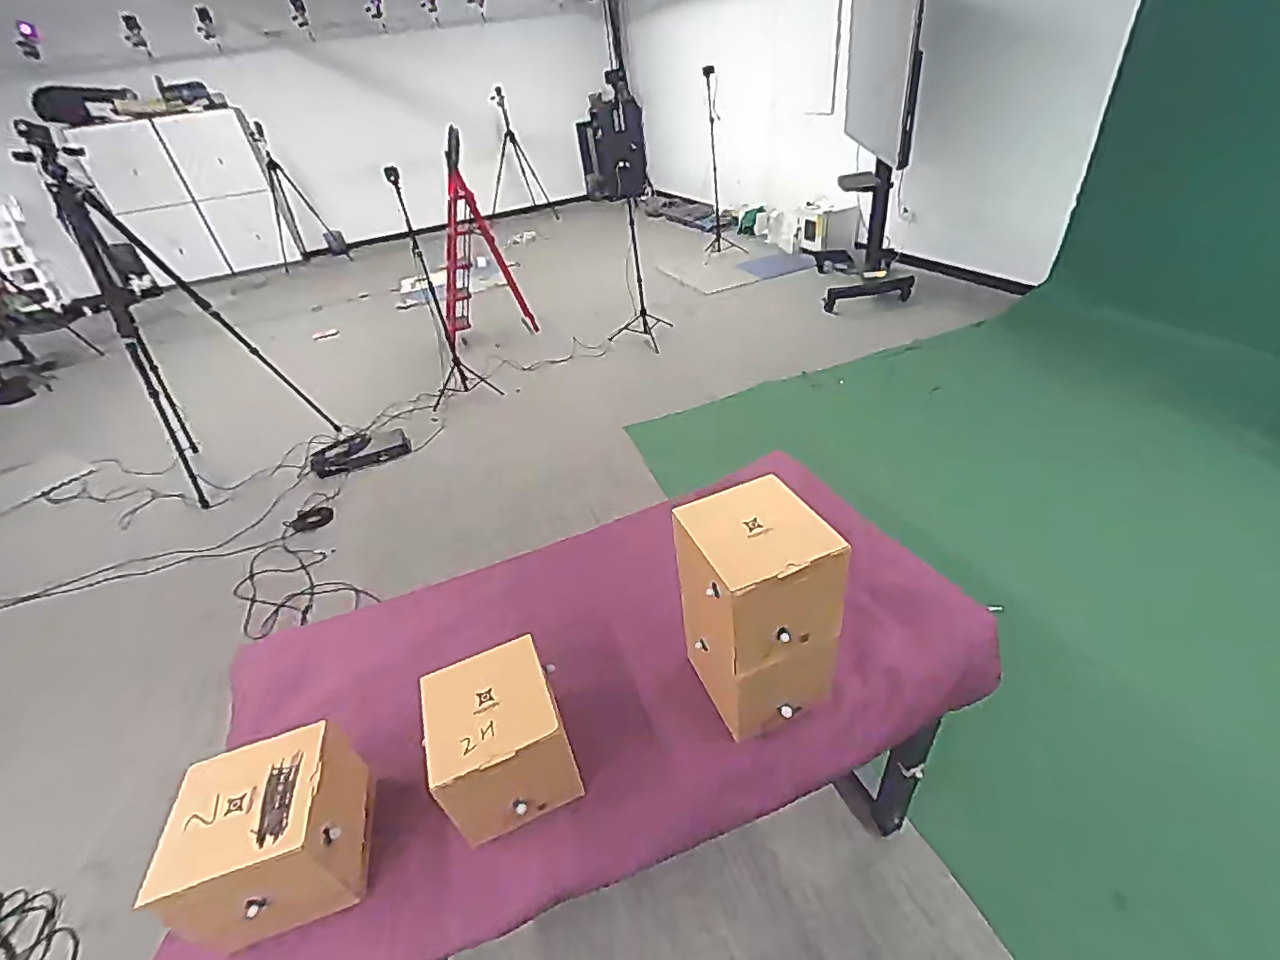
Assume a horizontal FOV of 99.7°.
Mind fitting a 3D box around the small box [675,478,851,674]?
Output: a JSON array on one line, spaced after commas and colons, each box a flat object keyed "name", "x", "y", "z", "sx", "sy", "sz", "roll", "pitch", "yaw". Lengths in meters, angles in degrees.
[{"name": "small box", "x": 0.160, "y": 0.128, "z": 0.748, "sx": 0.168, "sy": 0.176, "sz": 0.179, "roll": -19, "pitch": 37, "yaw": -14}]

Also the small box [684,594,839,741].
[{"name": "small box", "x": 0.180, "y": 0.262, "z": 0.839, "sx": 0.168, "sy": 0.176, "sz": 0.179, "roll": -18, "pitch": 37, "yaw": -13}]

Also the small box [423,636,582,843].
[{"name": "small box", "x": -0.195, "y": 0.365, "z": 0.770, "sx": 0.168, "sy": 0.176, "sz": 0.179, "roll": -20, "pitch": 36, "yaw": -14}]
